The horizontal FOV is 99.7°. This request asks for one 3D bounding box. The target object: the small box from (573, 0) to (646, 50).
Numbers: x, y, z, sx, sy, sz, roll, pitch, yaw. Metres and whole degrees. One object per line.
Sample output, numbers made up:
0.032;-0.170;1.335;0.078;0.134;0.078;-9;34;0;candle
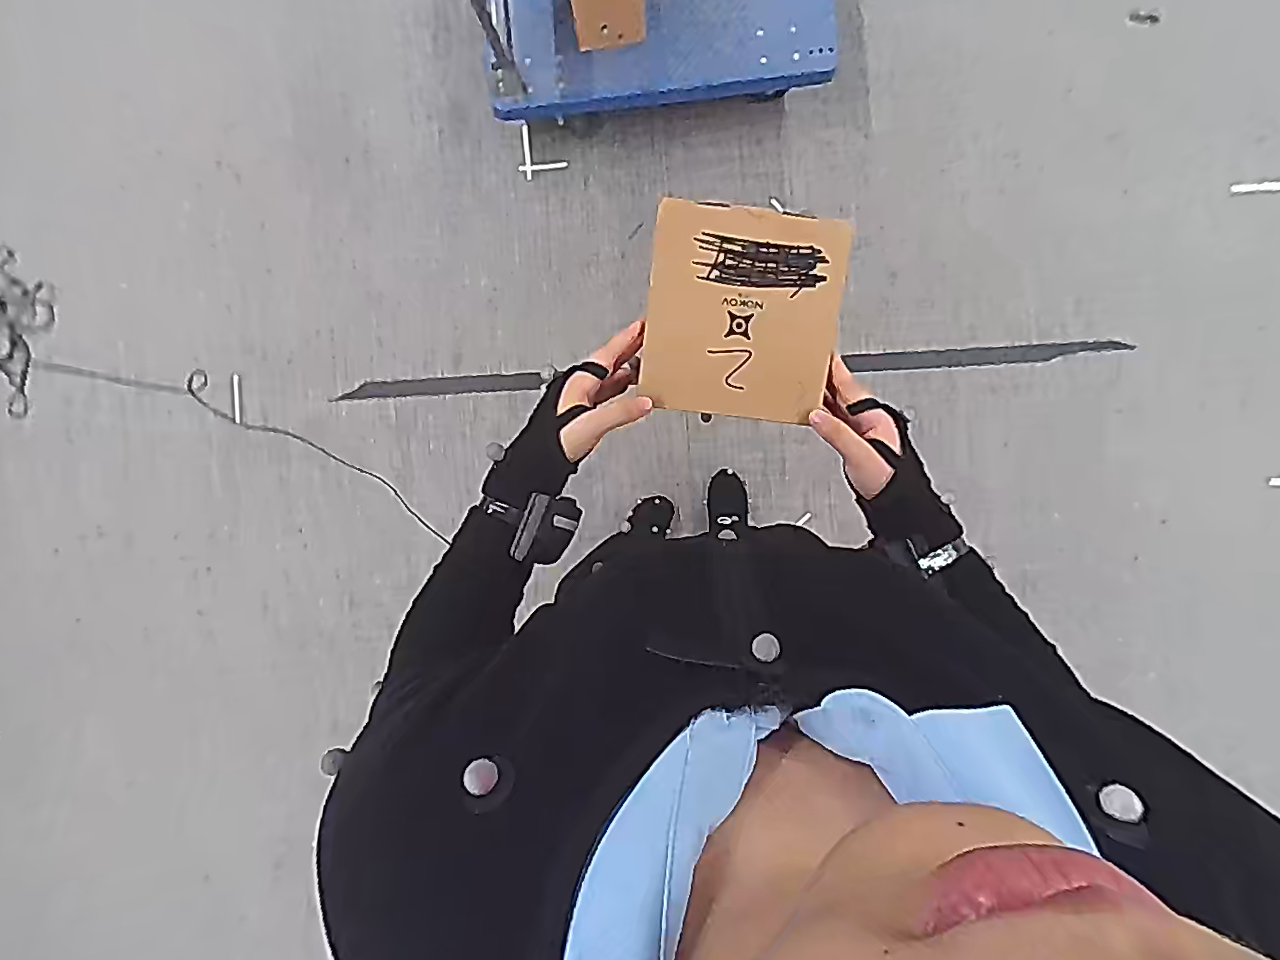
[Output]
-0.078;-1.153;1.250;0.168;0.176;0.179;-9;90;1;small box
